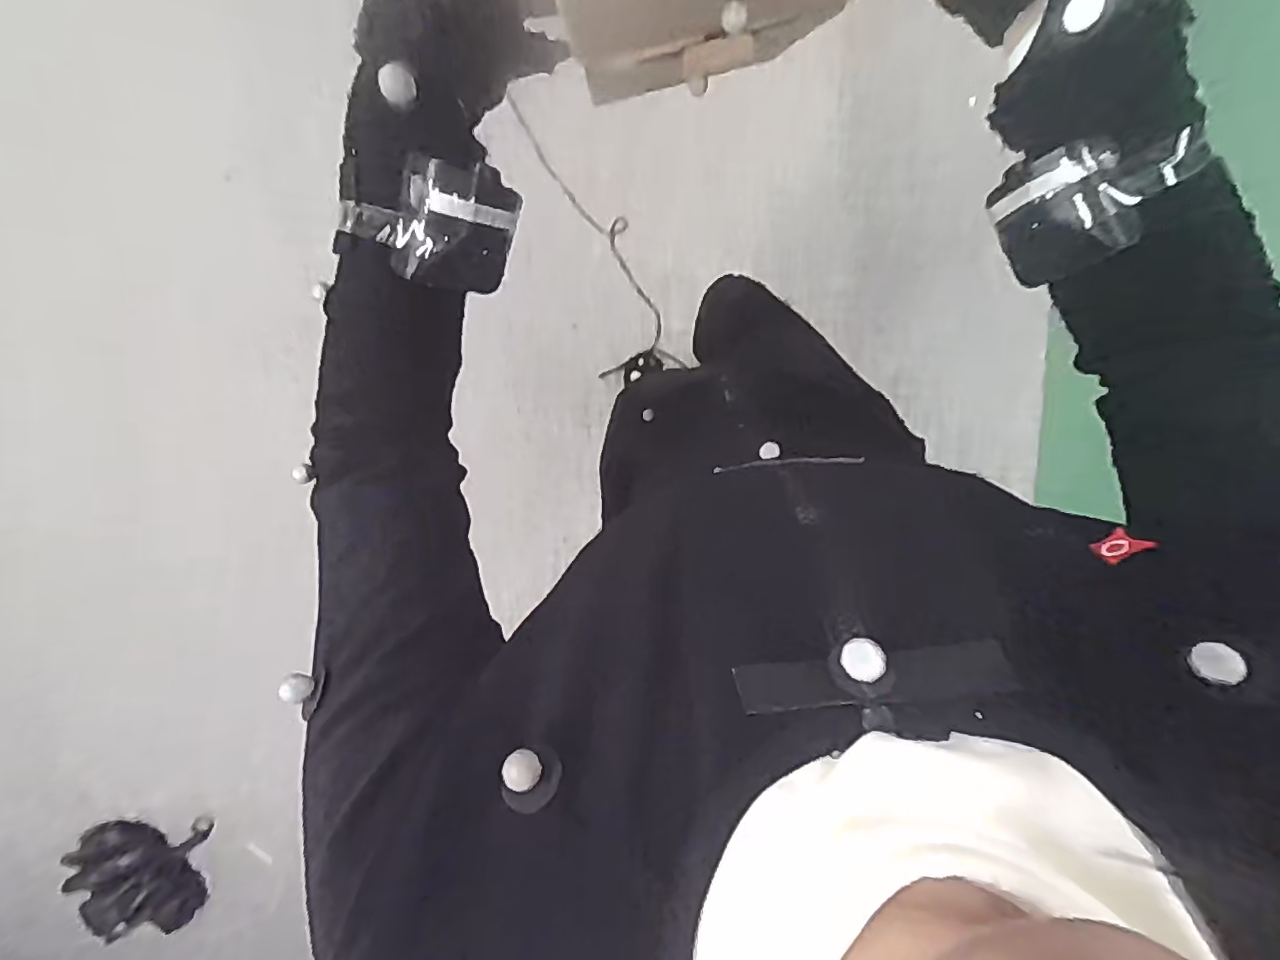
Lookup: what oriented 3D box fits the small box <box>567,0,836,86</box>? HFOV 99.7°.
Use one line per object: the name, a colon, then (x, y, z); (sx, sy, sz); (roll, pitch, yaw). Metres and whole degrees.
small box: (0.023, -0.387, 0.361); (0.168, 0.176, 0.179); (-12, 120, 3)
